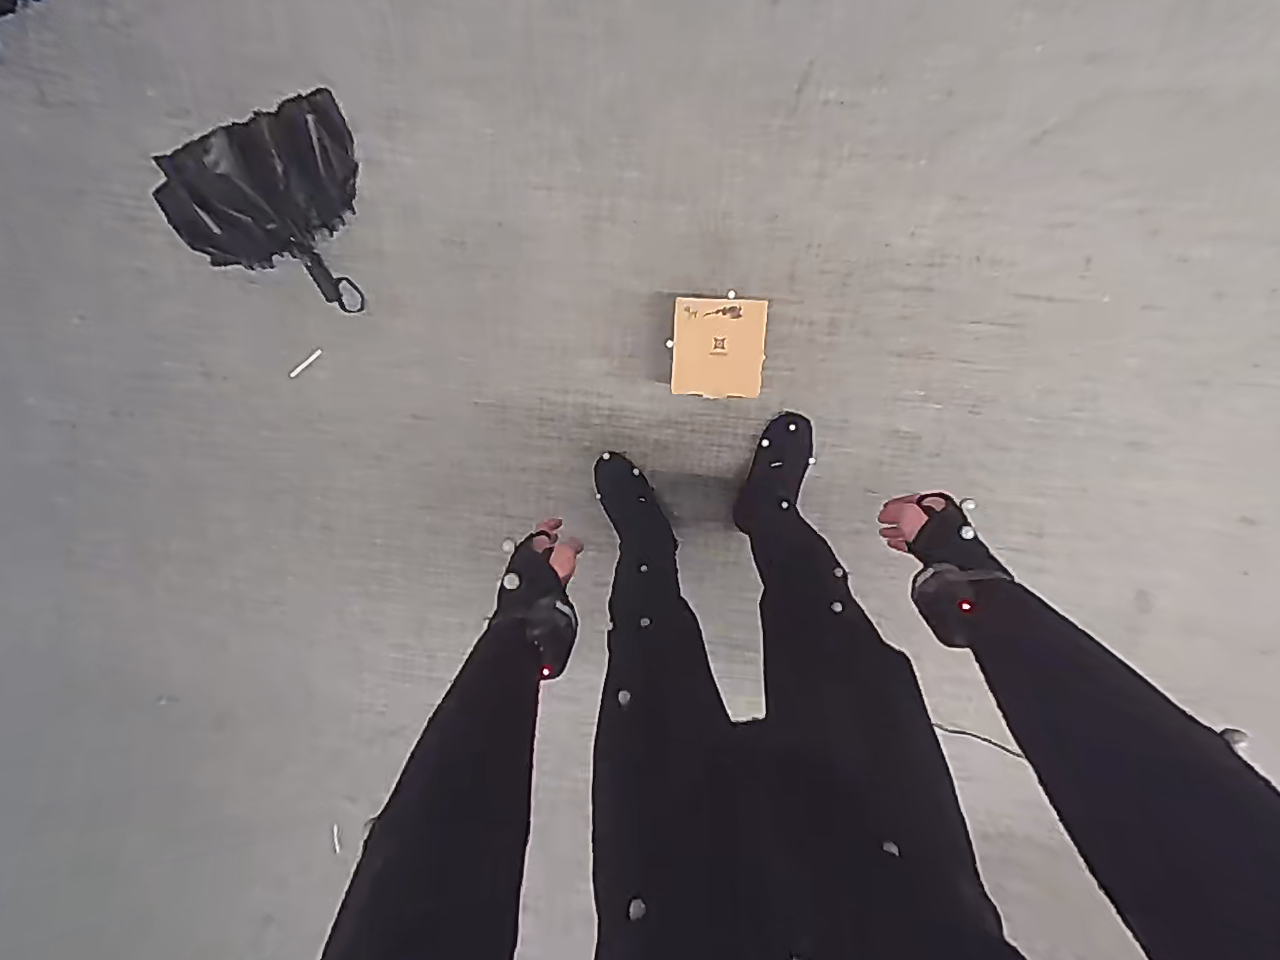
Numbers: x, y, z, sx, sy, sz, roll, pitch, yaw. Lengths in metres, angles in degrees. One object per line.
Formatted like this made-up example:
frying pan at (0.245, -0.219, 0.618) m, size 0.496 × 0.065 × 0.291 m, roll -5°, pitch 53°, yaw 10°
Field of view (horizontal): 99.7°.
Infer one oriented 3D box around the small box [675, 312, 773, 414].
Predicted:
small box at (0.159, -0.231, 1.053) m, size 0.168 × 0.176 × 0.179 m, roll 3°, pitch 105°, yaw 5°
